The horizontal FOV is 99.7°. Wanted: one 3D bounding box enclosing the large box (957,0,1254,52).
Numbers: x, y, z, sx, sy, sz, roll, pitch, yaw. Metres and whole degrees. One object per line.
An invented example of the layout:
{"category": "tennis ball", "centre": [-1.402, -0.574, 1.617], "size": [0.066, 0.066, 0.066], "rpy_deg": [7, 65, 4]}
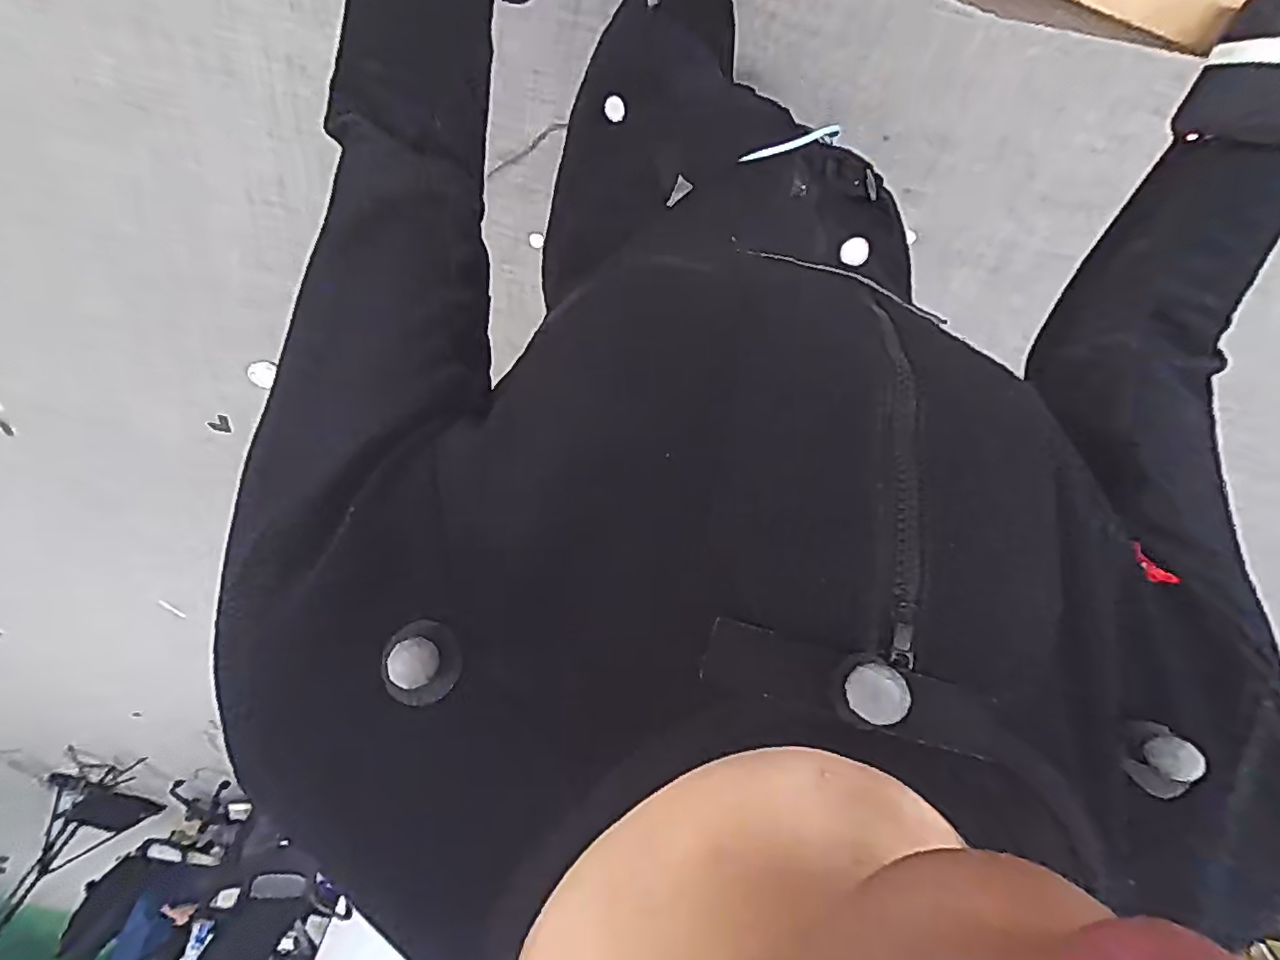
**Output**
{"category": "large box", "centre": [0.183, -0.494, 0.284], "size": [0.408, 0.320, 0.320], "rpy_deg": [15, 135, -8]}
